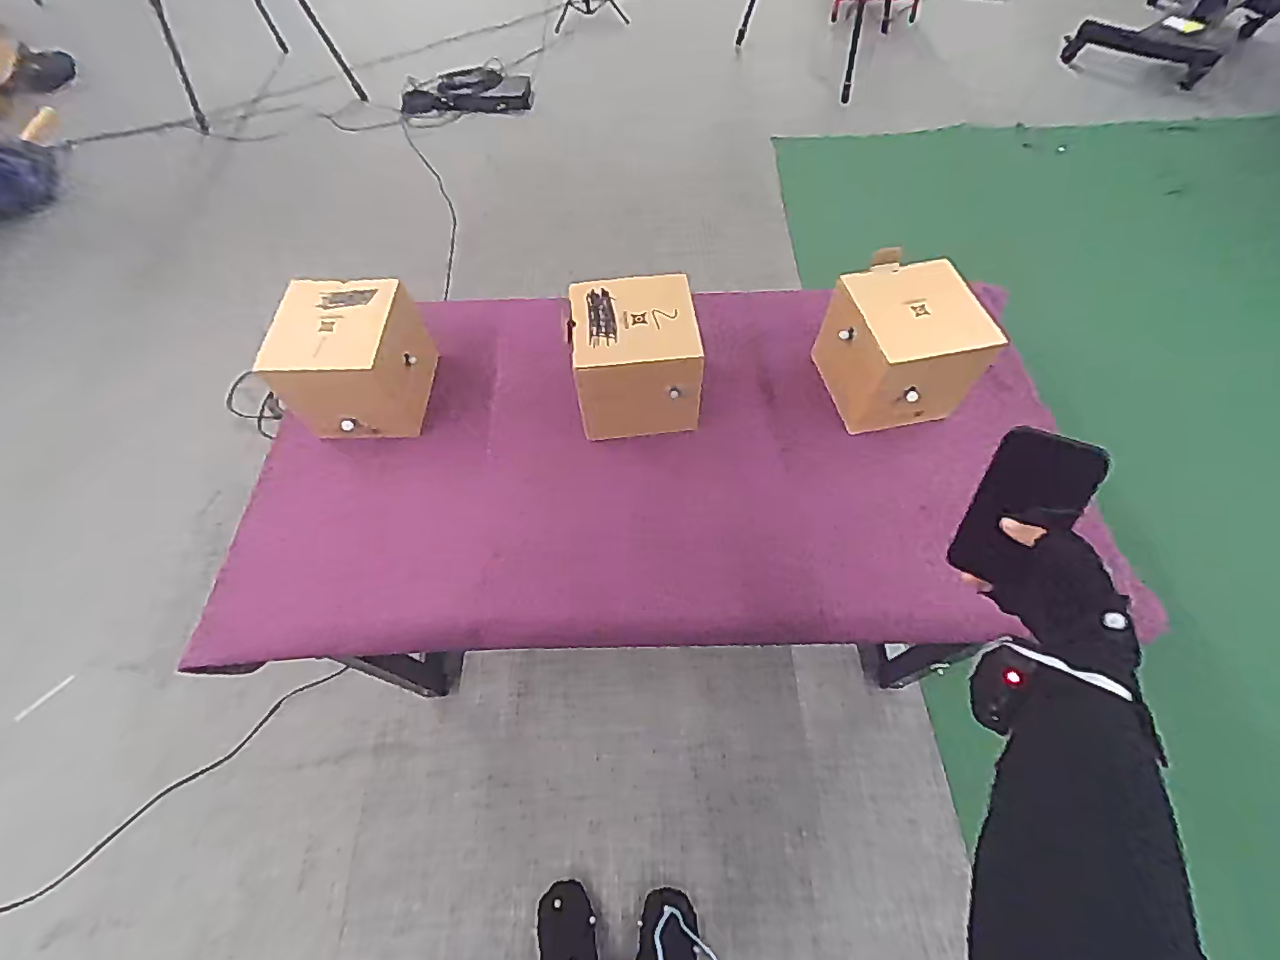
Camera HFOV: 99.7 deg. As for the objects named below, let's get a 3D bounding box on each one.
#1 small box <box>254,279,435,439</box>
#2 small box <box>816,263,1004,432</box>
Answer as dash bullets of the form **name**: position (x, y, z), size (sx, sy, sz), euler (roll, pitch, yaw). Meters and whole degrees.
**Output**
- **small box**: position (-0.430, -0.181, 0.825), size (0.168, 0.176, 0.179), euler (0, 62, 2)
- **small box**: position (0.384, -0.188, 0.809), size (0.168, 0.176, 0.179), euler (-10, 59, -4)
